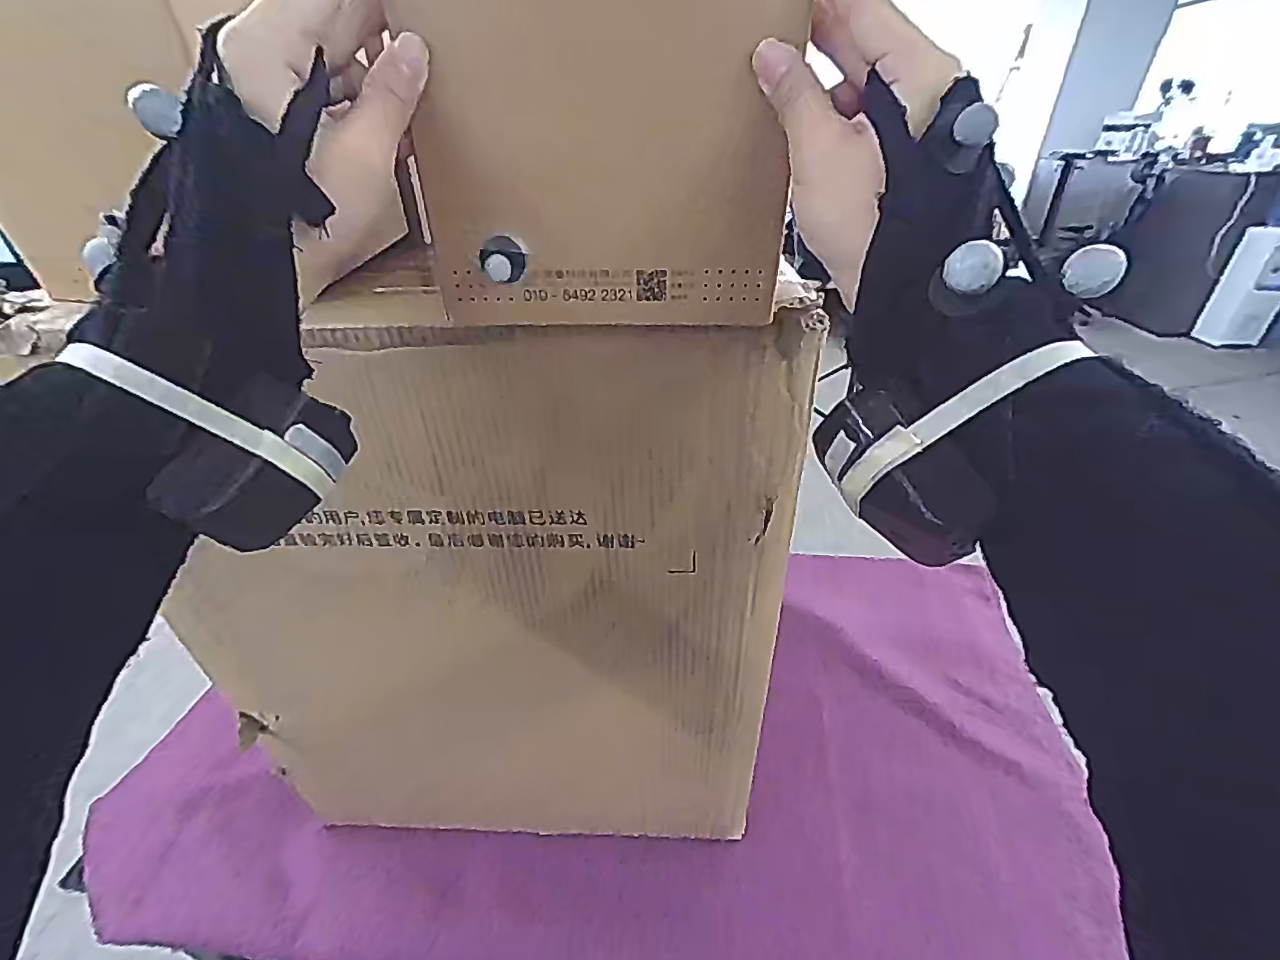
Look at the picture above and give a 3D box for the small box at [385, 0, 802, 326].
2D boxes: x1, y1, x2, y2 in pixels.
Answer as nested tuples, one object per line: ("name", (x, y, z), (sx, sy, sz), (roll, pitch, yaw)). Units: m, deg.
("small box", (-0.013, -0.190, 0.300), (0.168, 0.176, 0.179), (0, 33, 1))
